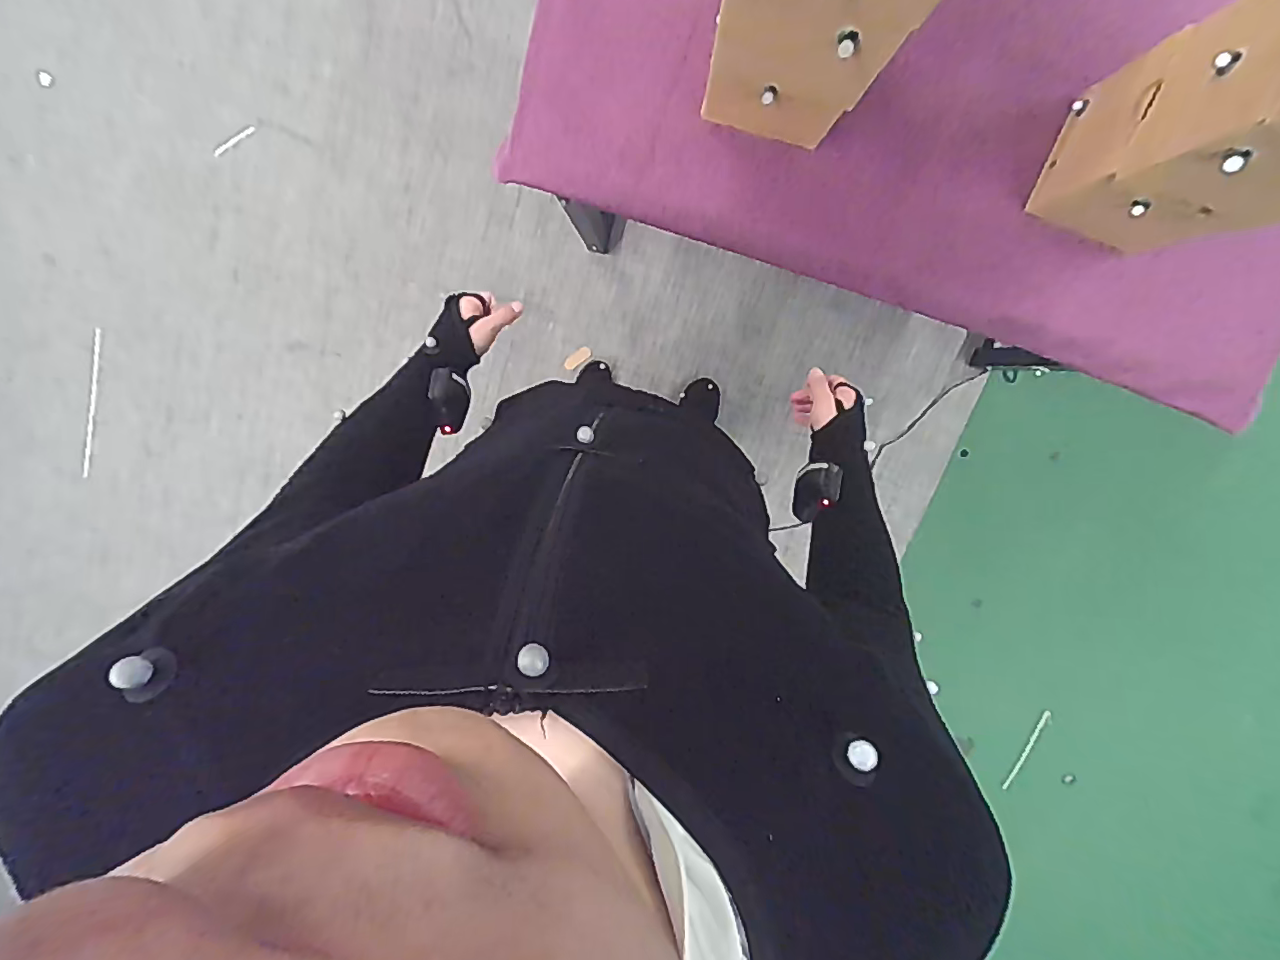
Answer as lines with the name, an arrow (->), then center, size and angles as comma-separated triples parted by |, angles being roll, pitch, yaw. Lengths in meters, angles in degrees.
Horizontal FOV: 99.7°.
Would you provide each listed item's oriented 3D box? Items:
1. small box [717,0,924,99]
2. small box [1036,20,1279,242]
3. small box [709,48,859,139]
small box -> 0.188, -0.521, 0.538 | 0.179, 0.176, 0.168 | 17, 102, -1
small box -> 0.675, -0.430, 0.702 | 0.179, 0.176, 0.168 | 20, 103, -2
small box -> 0.197, -0.571, 0.695 | 0.179, 0.176, 0.168 | 16, 103, 0
